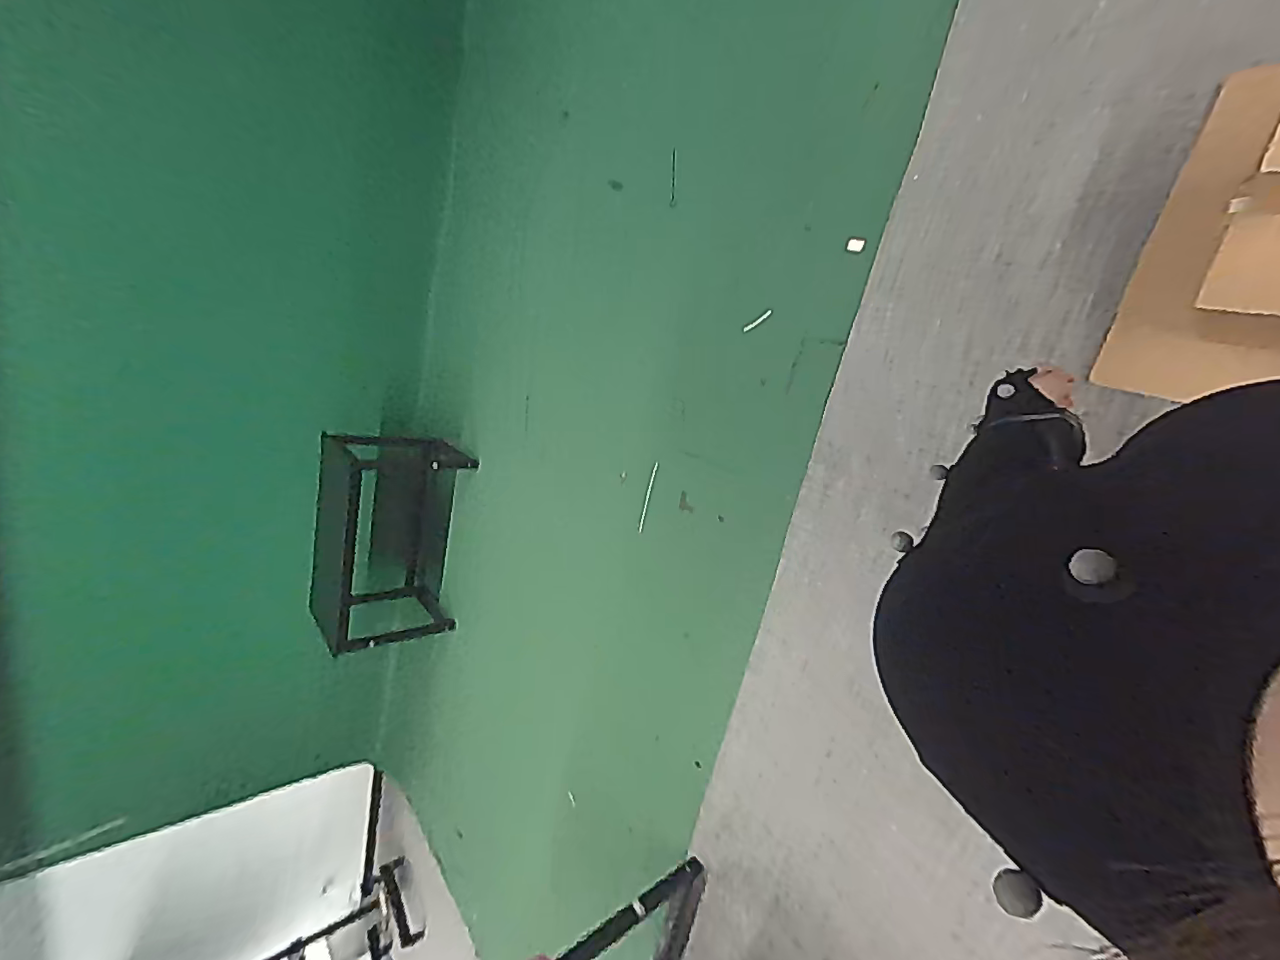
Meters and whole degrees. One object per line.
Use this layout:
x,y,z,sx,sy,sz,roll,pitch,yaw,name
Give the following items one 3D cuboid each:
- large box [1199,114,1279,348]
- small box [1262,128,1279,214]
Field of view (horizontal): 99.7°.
1.151,-0.359,0.791,0.408,0.320,0.320,26,110,43,large box
0.927,-0.455,0.673,0.168,0.176,0.179,24,108,45,small box
